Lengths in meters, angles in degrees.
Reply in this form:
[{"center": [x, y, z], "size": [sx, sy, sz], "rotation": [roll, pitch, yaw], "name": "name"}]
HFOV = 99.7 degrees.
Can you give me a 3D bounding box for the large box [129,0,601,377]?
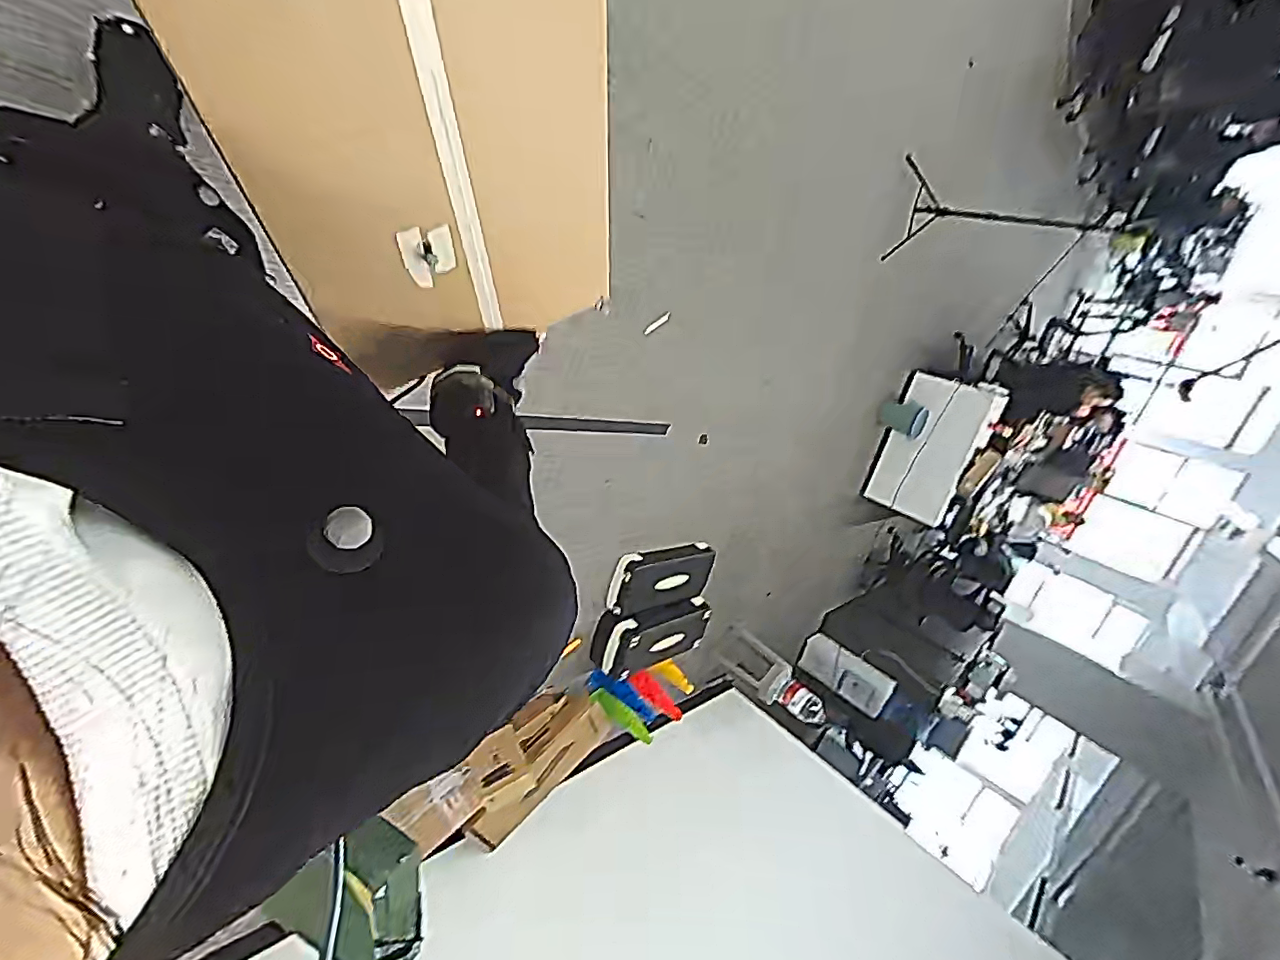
[{"center": [-0.255, -0.390, 0.527], "size": [0.320, 0.320, 0.408], "rotation": [-30, 153, -19], "name": "large box"}]
